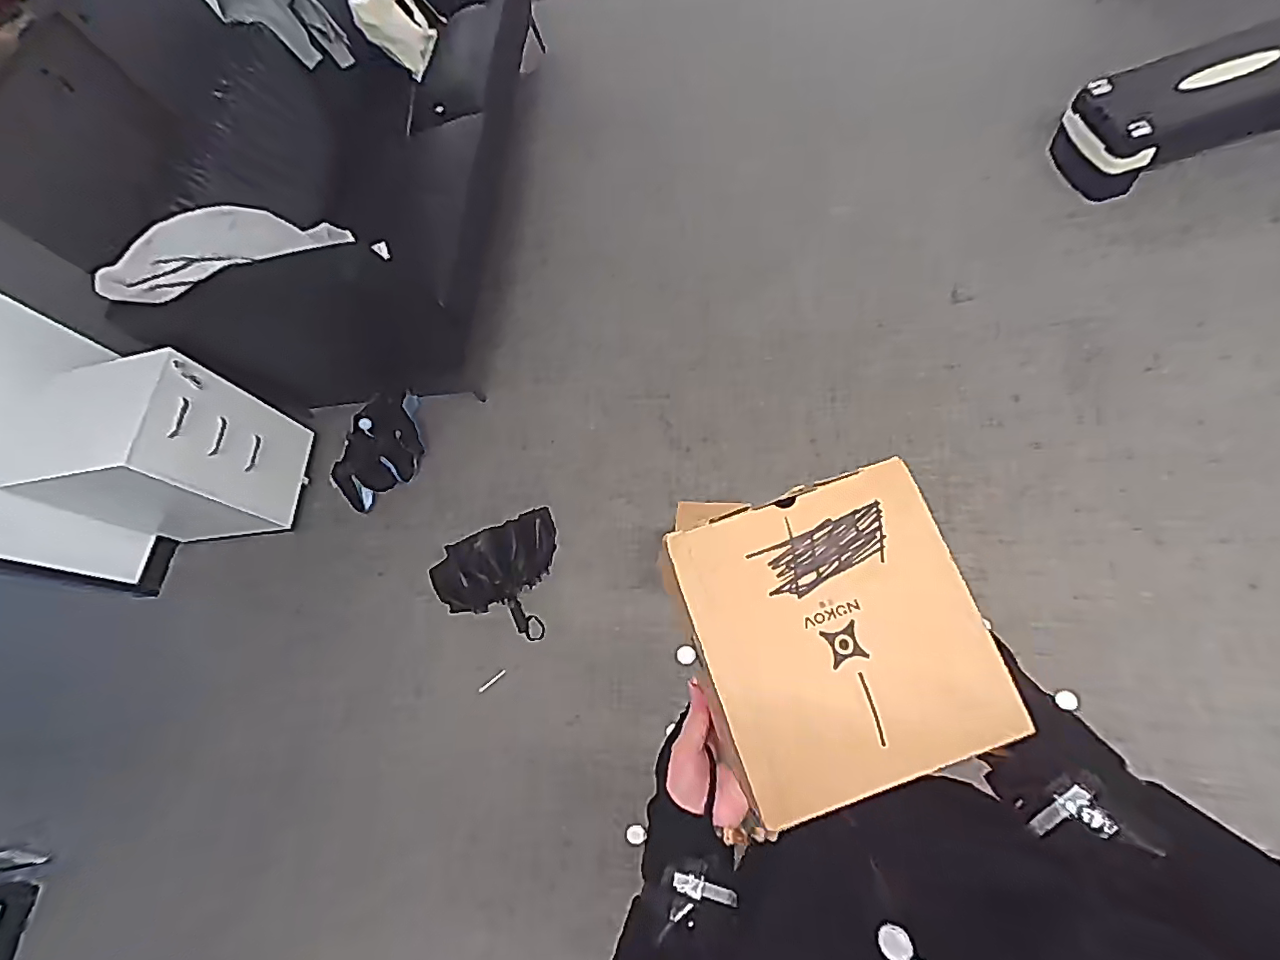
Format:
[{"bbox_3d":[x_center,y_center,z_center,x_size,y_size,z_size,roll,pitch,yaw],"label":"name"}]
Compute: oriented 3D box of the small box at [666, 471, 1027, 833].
[{"bbox_3d":[0.122,0.117,0.405,0.168,0.176,0.179,-18,75,-4],"label":"small box"}]
